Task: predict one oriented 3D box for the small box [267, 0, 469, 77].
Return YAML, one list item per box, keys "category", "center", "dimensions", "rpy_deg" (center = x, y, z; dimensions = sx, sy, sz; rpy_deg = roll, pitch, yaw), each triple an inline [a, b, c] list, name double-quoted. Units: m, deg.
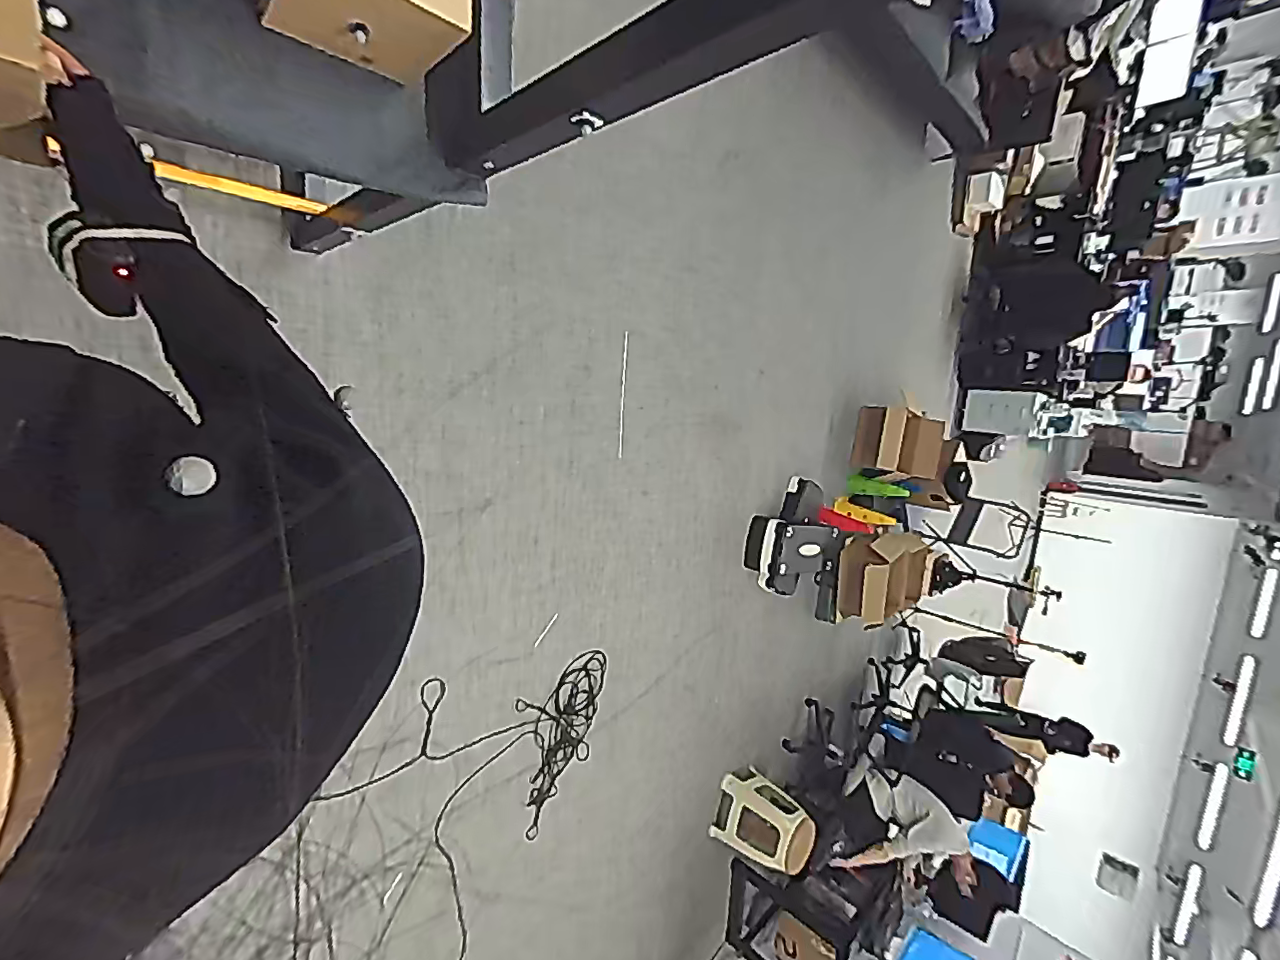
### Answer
- category: "small box"
  center: [-0.299, -0.583, 0.582]
  dimensions: [0.168, 0.176, 0.179]
  rpy_deg: [-8, 104, -46]
